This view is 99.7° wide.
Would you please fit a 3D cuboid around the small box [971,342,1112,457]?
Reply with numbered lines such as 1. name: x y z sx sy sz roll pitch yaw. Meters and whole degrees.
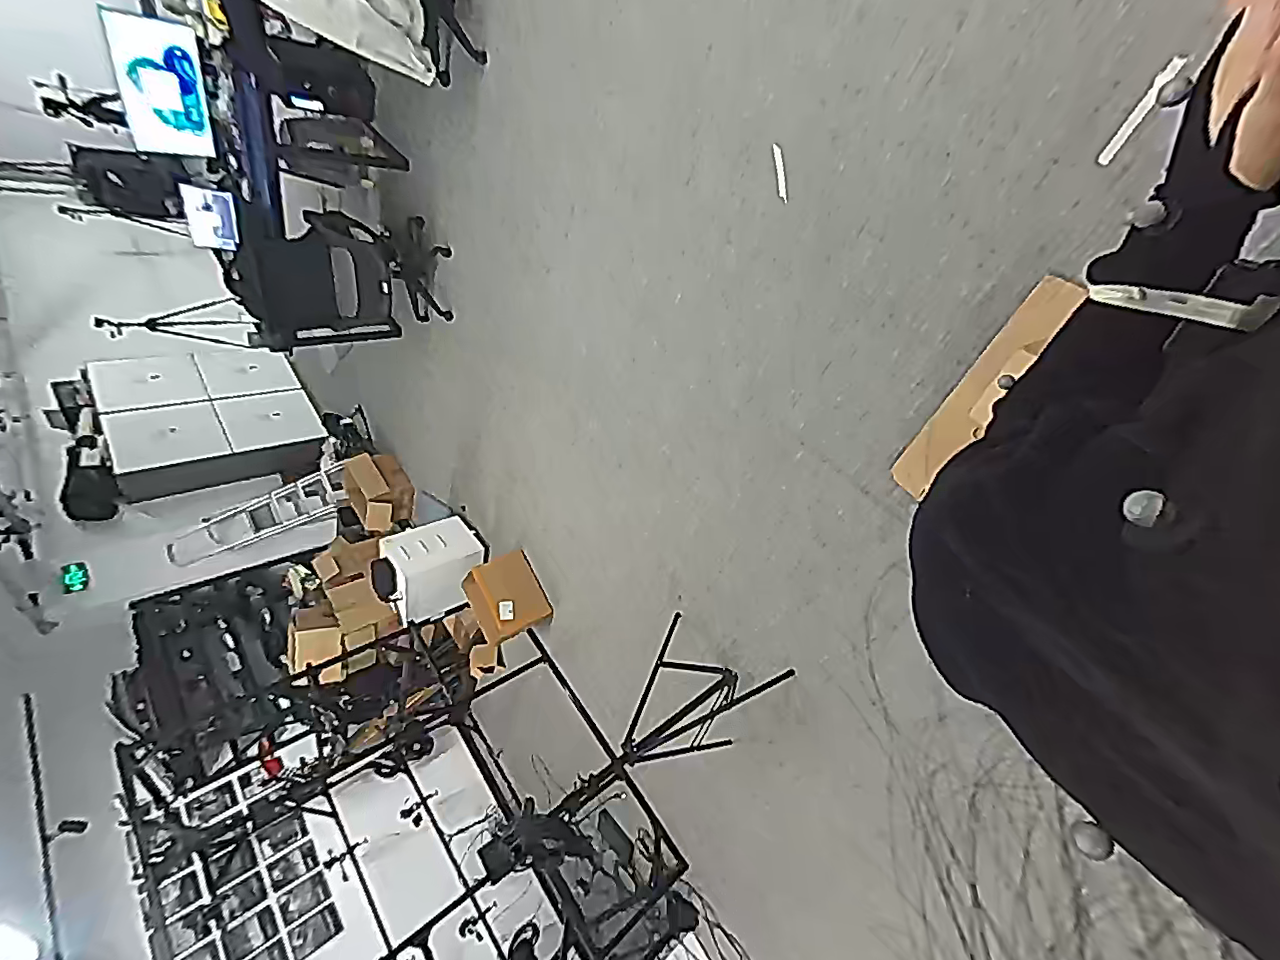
1. small box: 0.865 -0.181 1.163 0.168 0.176 0.179 44 134 29
